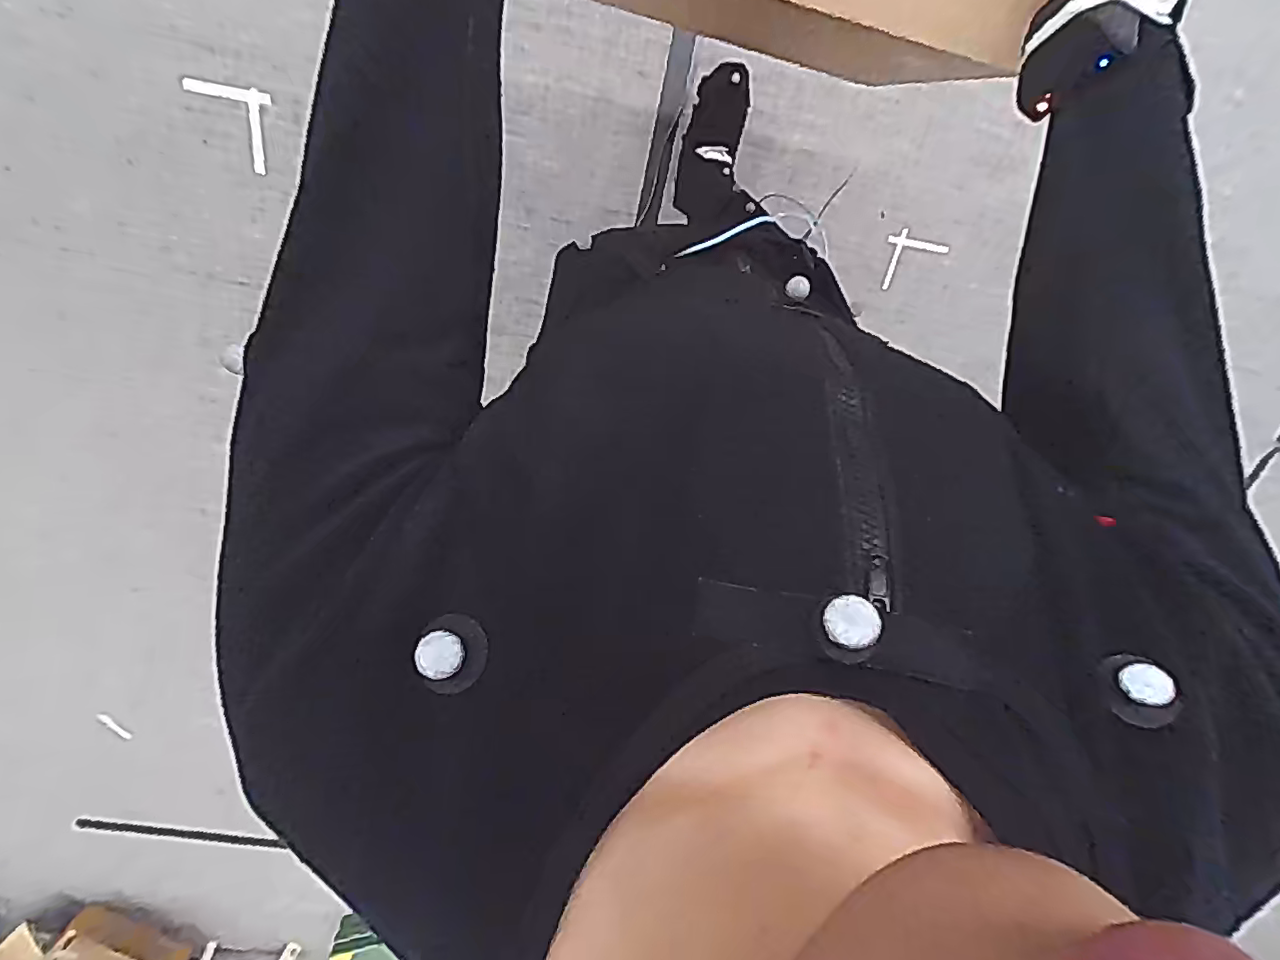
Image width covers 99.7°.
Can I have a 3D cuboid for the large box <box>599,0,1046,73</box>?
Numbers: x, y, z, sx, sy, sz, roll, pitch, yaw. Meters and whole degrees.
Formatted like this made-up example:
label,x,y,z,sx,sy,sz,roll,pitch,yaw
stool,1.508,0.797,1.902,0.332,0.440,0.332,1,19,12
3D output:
label,x,y,z,sx,sy,sz,roll,pitch,yaw
large box,0.130,-0.569,0.438,0.408,0.320,0.320,9,126,-10
